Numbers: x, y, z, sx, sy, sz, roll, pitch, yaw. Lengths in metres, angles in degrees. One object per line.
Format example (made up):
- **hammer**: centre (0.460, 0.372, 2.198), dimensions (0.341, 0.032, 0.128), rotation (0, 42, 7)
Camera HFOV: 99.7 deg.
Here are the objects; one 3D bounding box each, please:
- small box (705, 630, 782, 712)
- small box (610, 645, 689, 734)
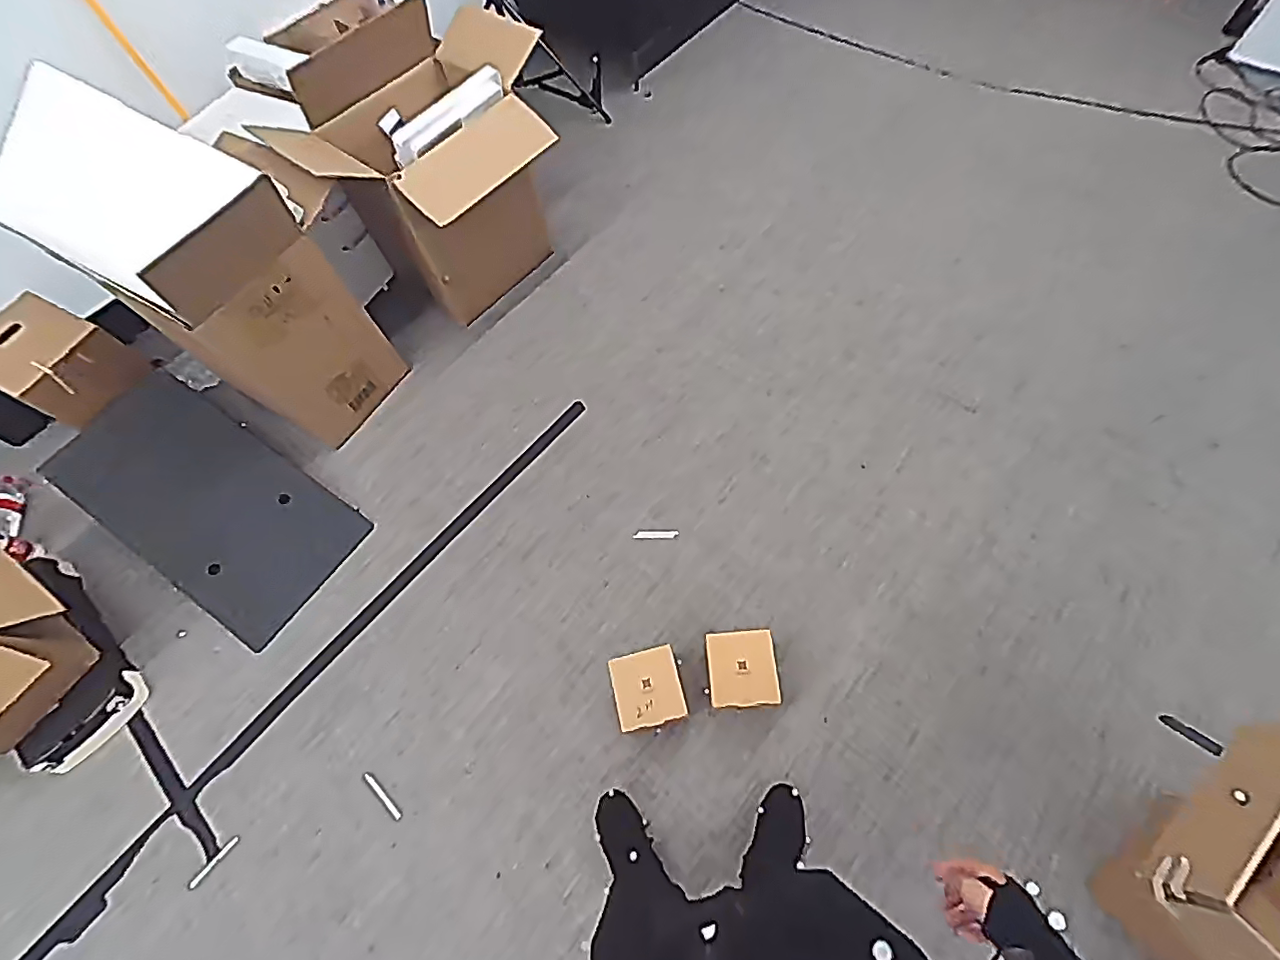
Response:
- **small box**: centre (0.260, 0.497, 1.398), dimensions (0.168, 0.176, 0.179), rotation (-5, 64, 3)
- **small box**: centre (0.026, 0.545, 1.396), dimensions (0.168, 0.176, 0.179), rotation (-15, 63, -1)
